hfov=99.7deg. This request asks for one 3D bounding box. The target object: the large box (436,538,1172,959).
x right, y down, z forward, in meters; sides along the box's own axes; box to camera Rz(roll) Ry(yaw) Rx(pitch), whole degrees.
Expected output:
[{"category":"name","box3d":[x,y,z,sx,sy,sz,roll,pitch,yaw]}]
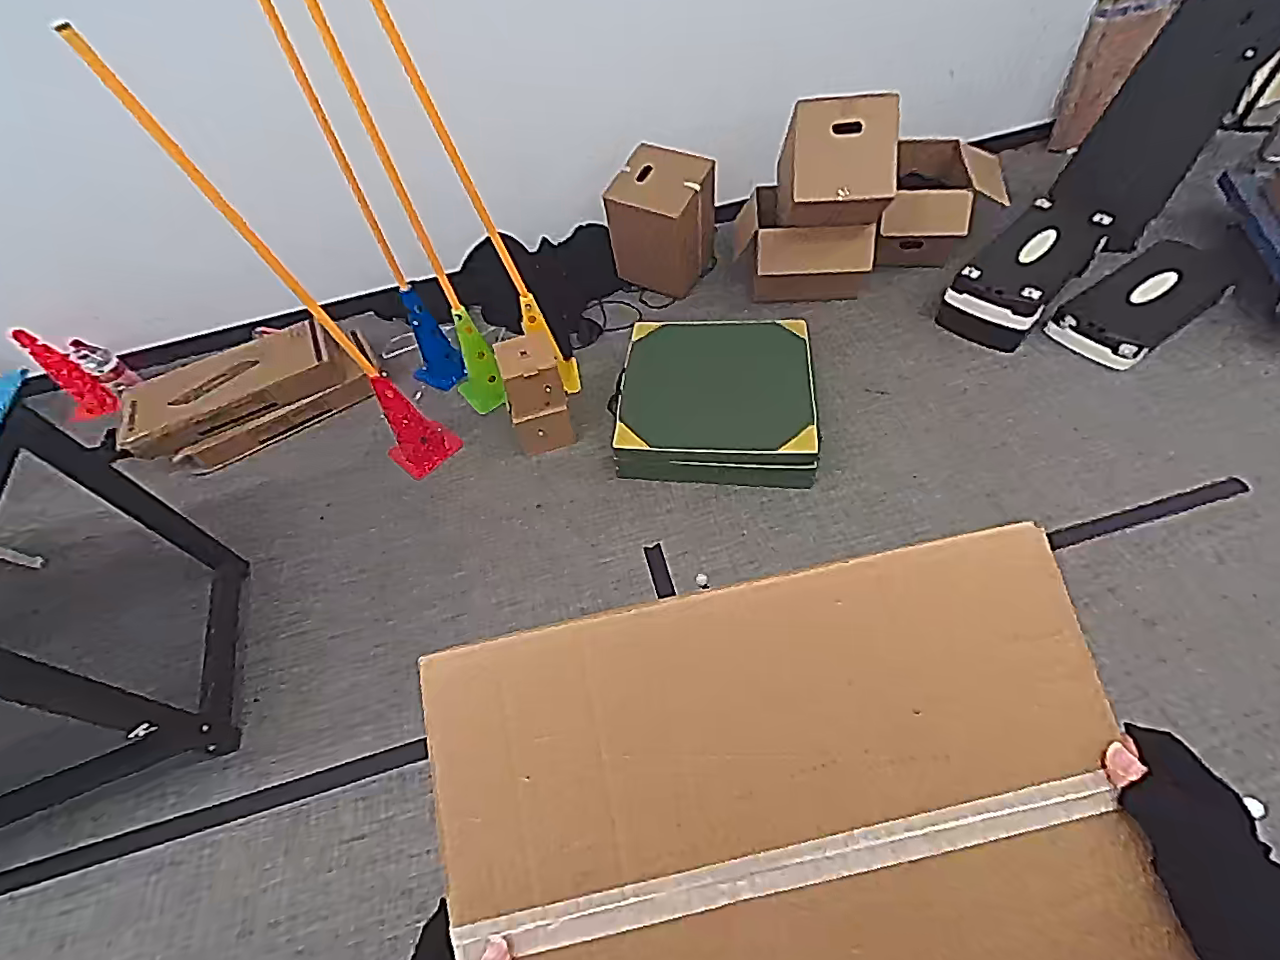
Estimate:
[{"category":"large box","box3d":[0.097,0.257,0.471,0.408,0.320,0.320,-12,77,-2]}]
